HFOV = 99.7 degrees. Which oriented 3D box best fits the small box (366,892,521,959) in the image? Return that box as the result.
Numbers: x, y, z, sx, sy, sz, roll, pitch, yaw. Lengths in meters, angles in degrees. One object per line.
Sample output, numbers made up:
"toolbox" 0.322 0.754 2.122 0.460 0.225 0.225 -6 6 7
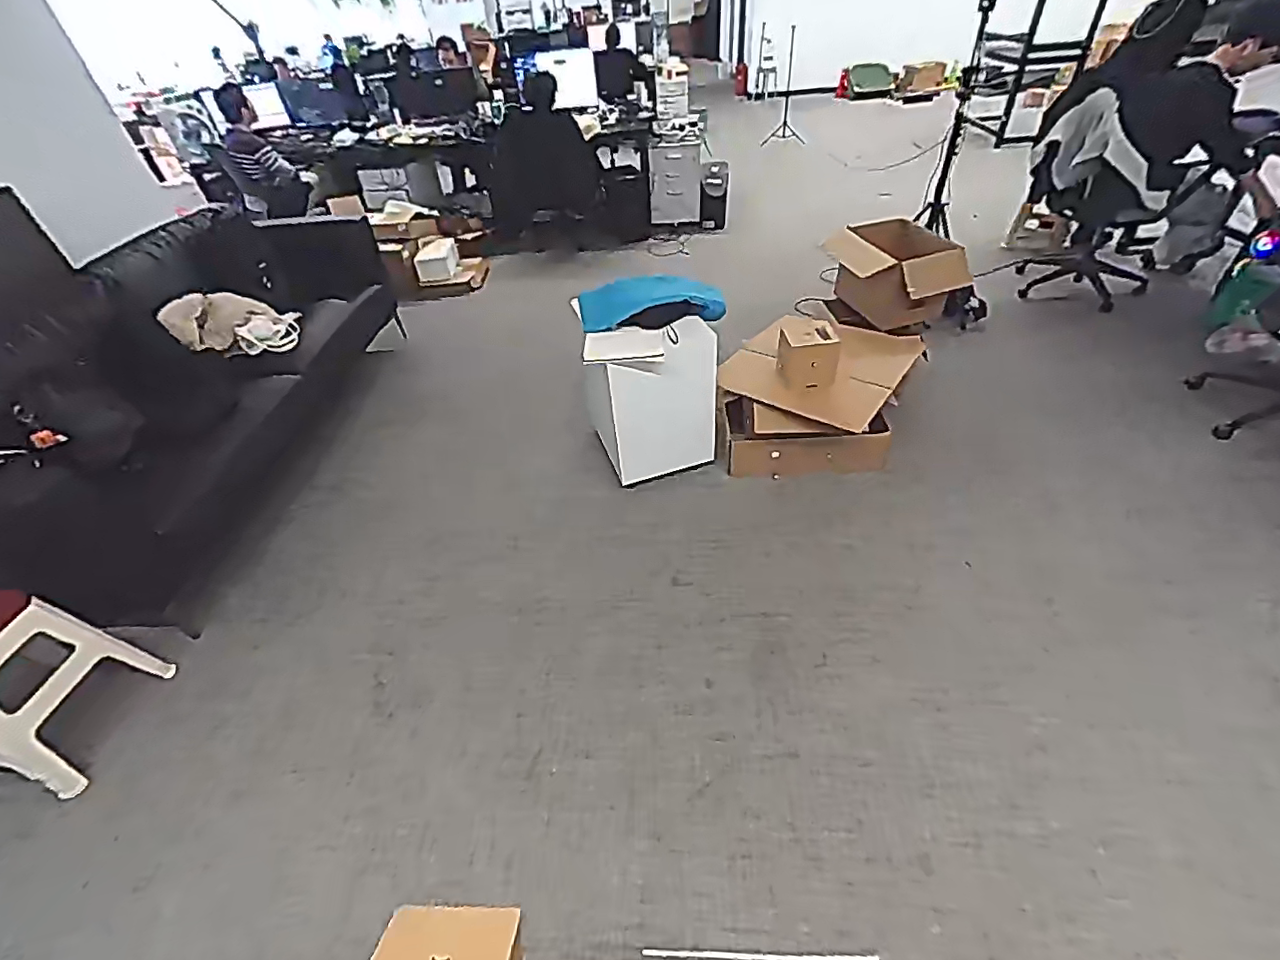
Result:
"small box" -0.245 0.646 0.648 0.168 0.176 0.179 2 6 -1
